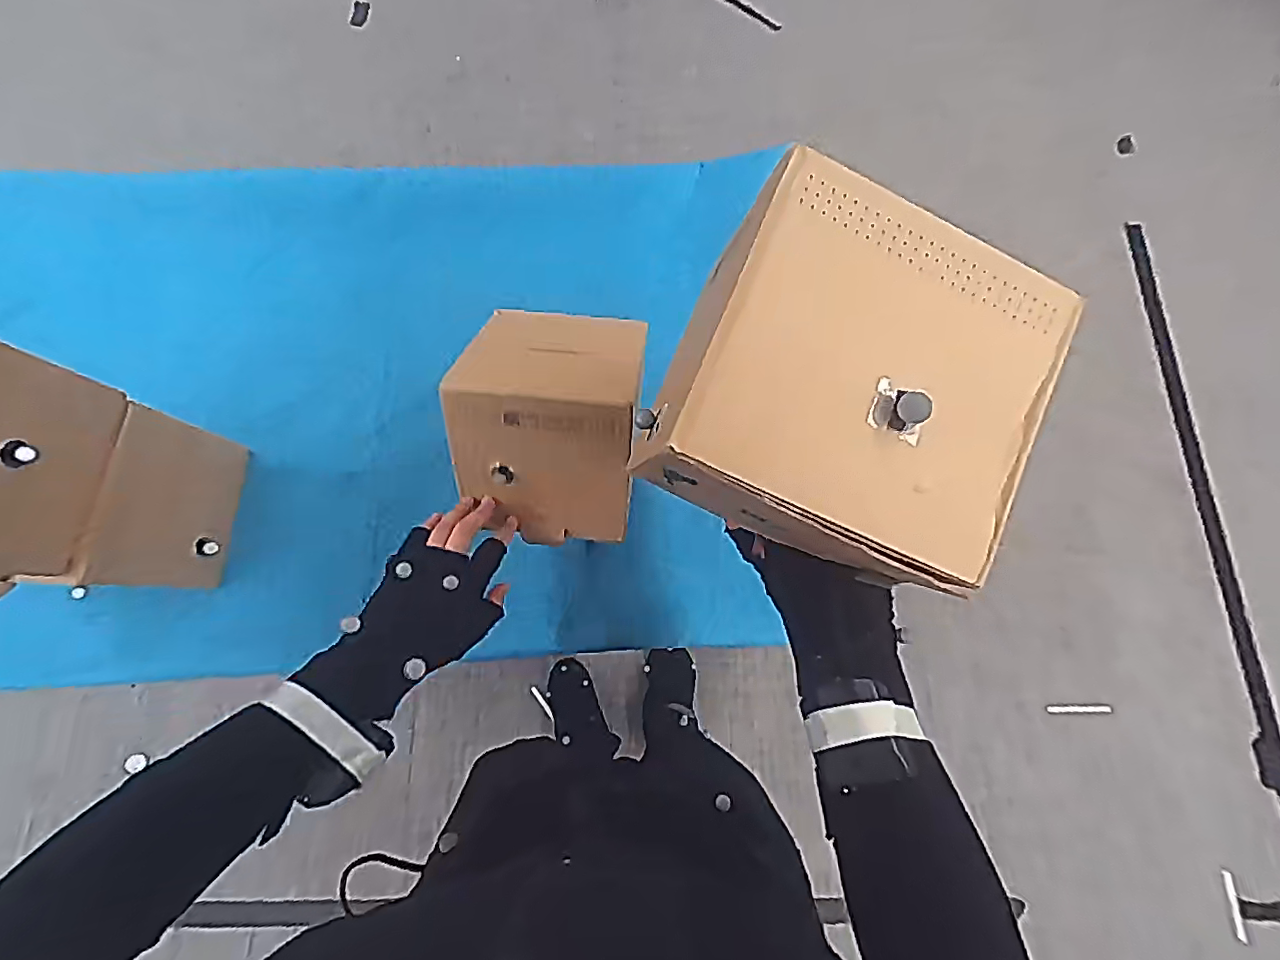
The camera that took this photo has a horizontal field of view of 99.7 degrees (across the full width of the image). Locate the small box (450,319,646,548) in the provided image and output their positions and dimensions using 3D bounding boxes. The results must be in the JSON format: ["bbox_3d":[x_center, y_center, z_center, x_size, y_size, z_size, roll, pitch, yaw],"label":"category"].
[{"bbox_3d":[-0.085,-0.054,0.570,0.168,0.176,0.179,6,41,1],"label":"small box"}]

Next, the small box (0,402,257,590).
[{"bbox_3d":[-0.564,0.022,0.579,0.168,0.176,0.179,4,77,0],"label":"small box"}]

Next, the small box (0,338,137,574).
[{"bbox_3d":[-0.570,-0.027,0.421,0.168,0.176,0.179,7,79,1],"label":"small box"}]

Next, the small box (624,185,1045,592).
[{"bbox_3d":[0.109,-0.048,0.352,0.179,0.168,0.176,23,84,-7],"label":"small box"}]
